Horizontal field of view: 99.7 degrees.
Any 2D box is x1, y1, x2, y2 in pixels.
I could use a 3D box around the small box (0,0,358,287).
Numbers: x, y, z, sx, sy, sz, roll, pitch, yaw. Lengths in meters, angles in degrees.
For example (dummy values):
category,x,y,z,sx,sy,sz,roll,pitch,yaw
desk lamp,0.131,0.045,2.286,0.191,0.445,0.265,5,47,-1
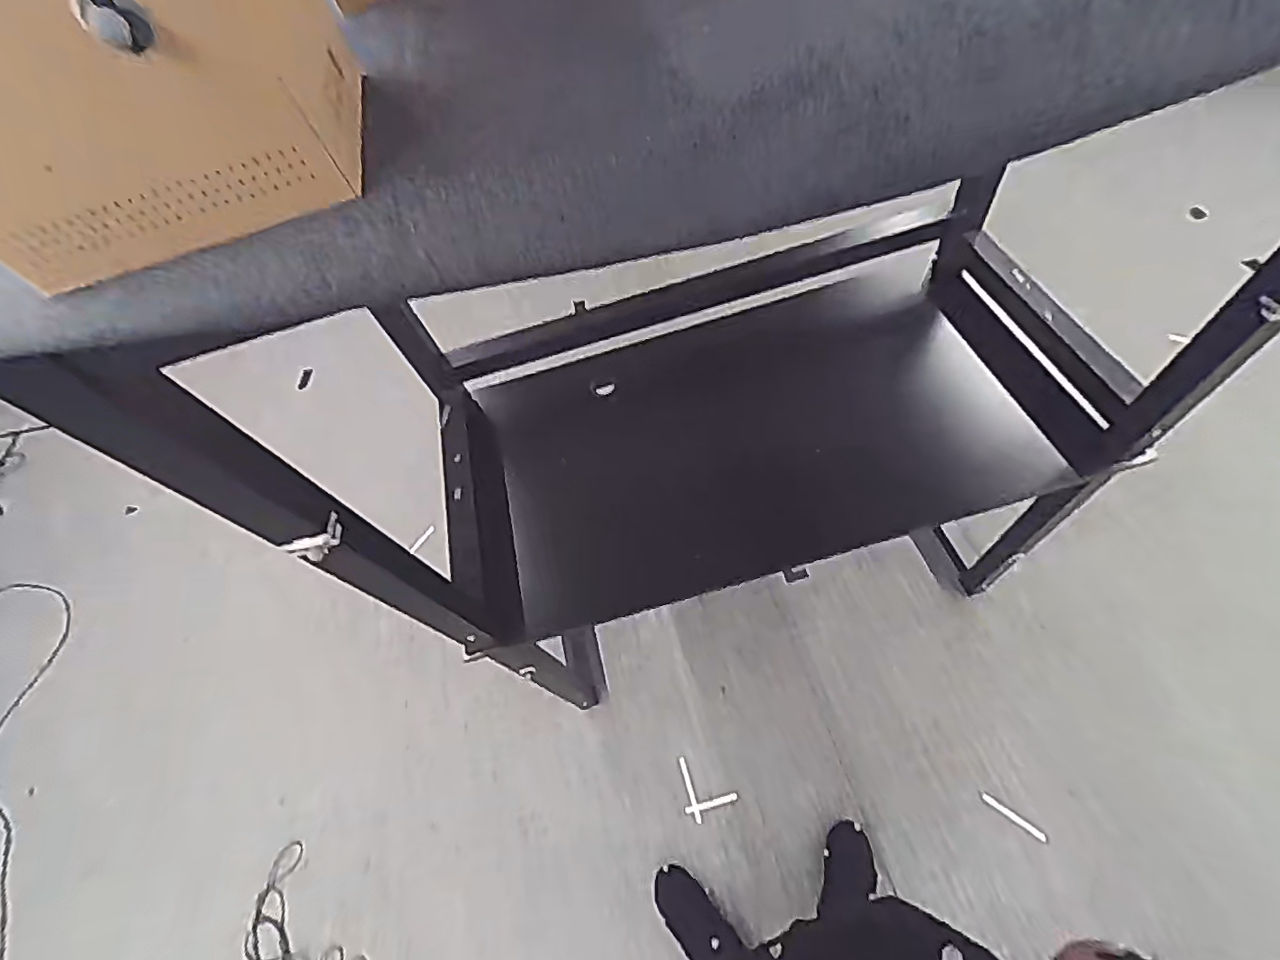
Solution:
category,x,y,z,sx,sy,sz,roll,pitch,yaw
small box,-0.263,-0.227,0.260,0.179,0.176,0.168,-18,57,-1
